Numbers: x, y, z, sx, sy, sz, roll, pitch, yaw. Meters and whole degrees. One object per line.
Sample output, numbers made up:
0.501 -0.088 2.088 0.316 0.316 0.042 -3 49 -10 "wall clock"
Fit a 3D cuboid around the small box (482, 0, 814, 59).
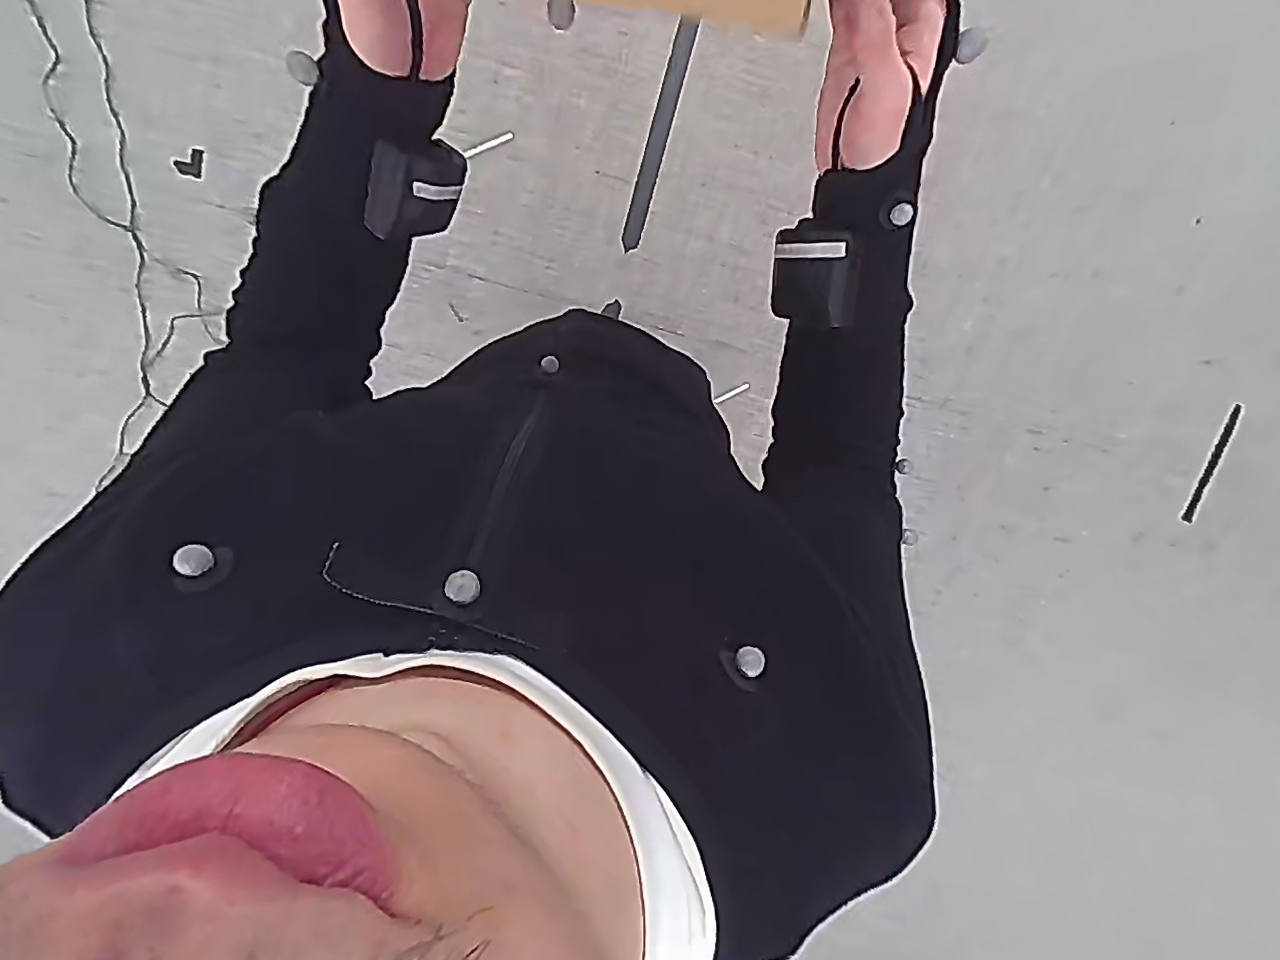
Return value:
0.016 -0.328 0.244 0.176 0.168 0.179 14 142 3 "small box"
